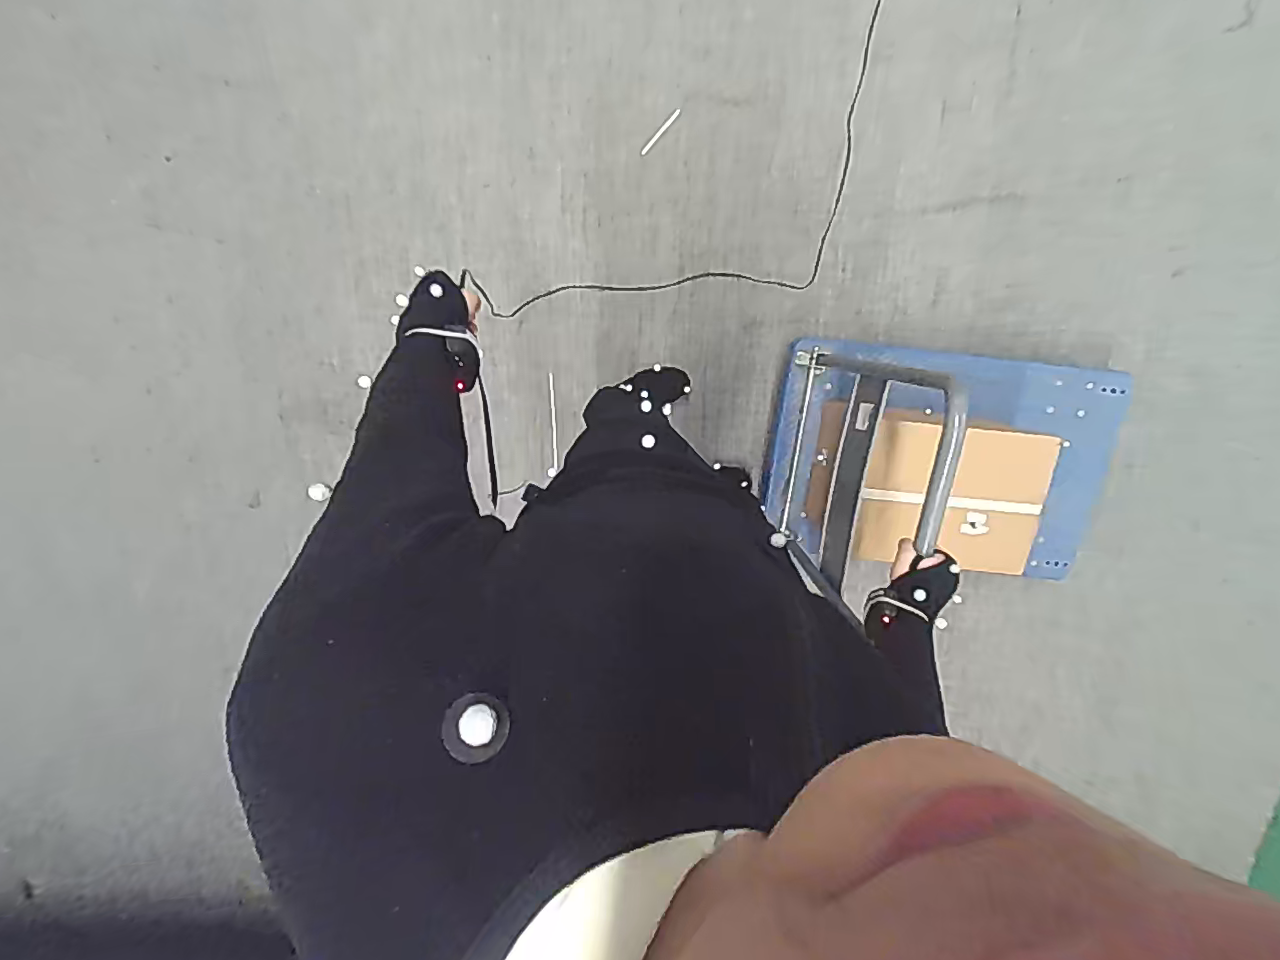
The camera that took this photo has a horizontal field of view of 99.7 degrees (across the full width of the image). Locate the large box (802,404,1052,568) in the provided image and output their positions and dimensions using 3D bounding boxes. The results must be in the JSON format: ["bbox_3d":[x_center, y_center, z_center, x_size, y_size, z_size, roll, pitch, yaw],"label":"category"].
[{"bbox_3d":[0.646,-0.004,1.298,0.408,0.320,0.320,5,105,-1],"label":"large box"}]
